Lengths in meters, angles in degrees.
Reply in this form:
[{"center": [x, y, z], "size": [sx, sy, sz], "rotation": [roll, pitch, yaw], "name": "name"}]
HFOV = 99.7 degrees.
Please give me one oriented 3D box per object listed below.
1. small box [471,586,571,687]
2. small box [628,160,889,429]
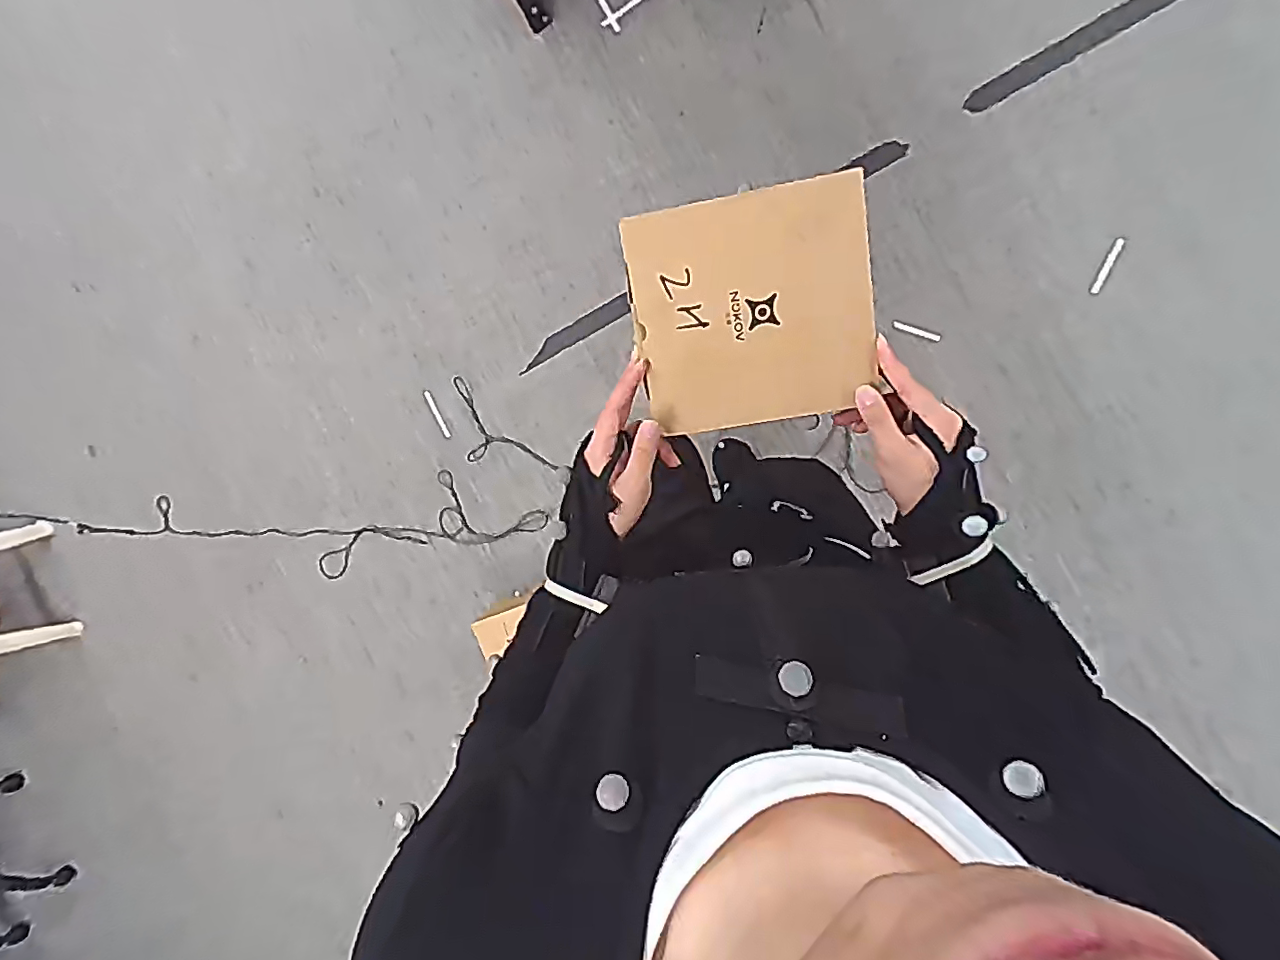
[{"center": [-0.297, 0.397, 1.392], "size": [0.168, 0.176, 0.179], "rotation": [-22, 92, 11], "name": "small box"}, {"center": [0.095, -0.147, 0.467], "size": [0.179, 0.176, 0.168], "rotation": [-7, 102, 8], "name": "small box"}]
